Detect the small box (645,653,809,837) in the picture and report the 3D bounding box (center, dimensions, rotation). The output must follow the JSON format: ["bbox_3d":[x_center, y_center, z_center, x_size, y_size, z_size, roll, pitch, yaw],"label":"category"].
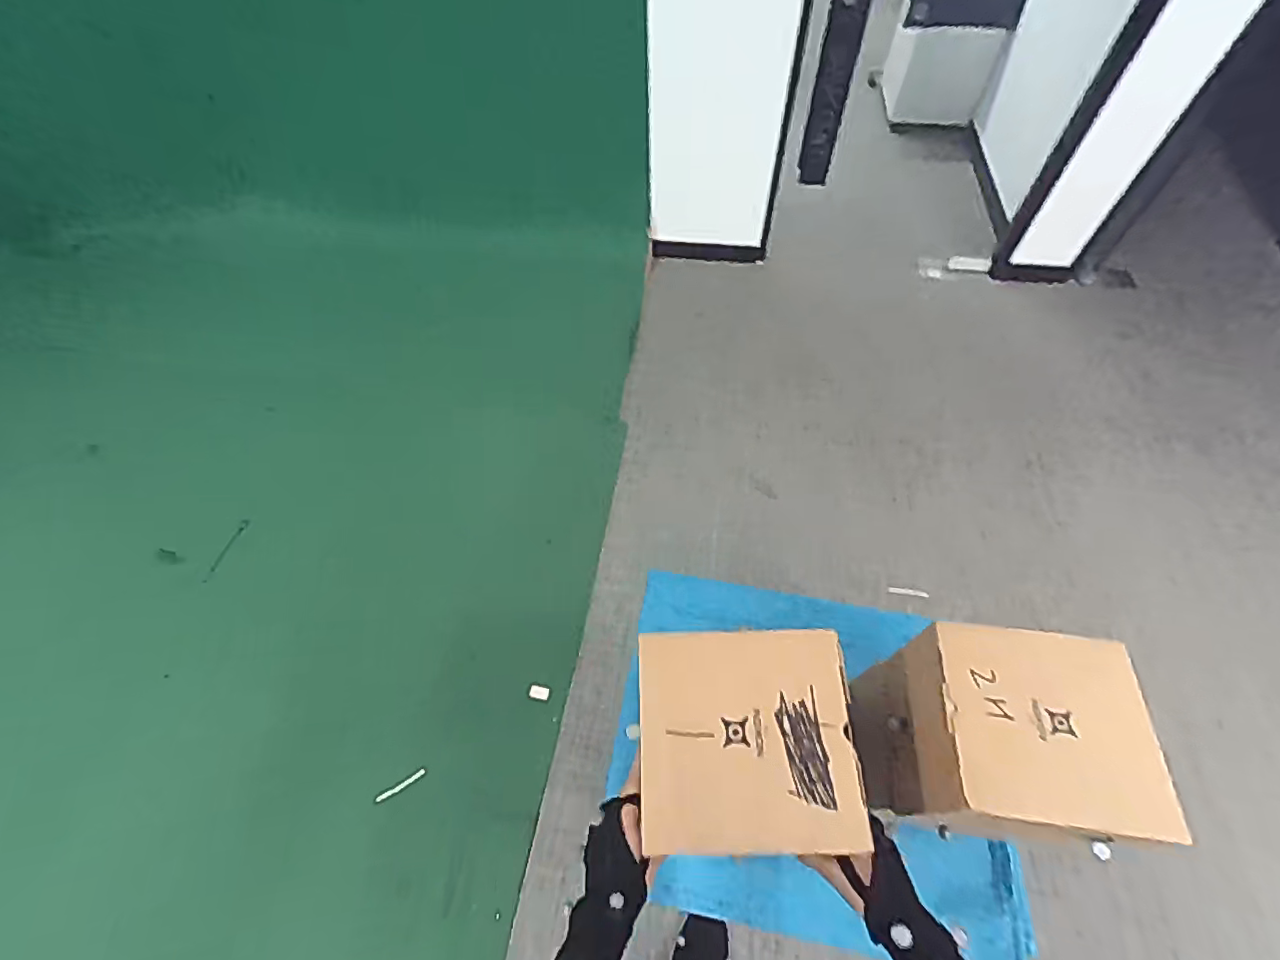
[{"bbox_3d":[0.093,0.311,0.646,0.168,0.176,0.179,-1,62,2],"label":"small box"}]
